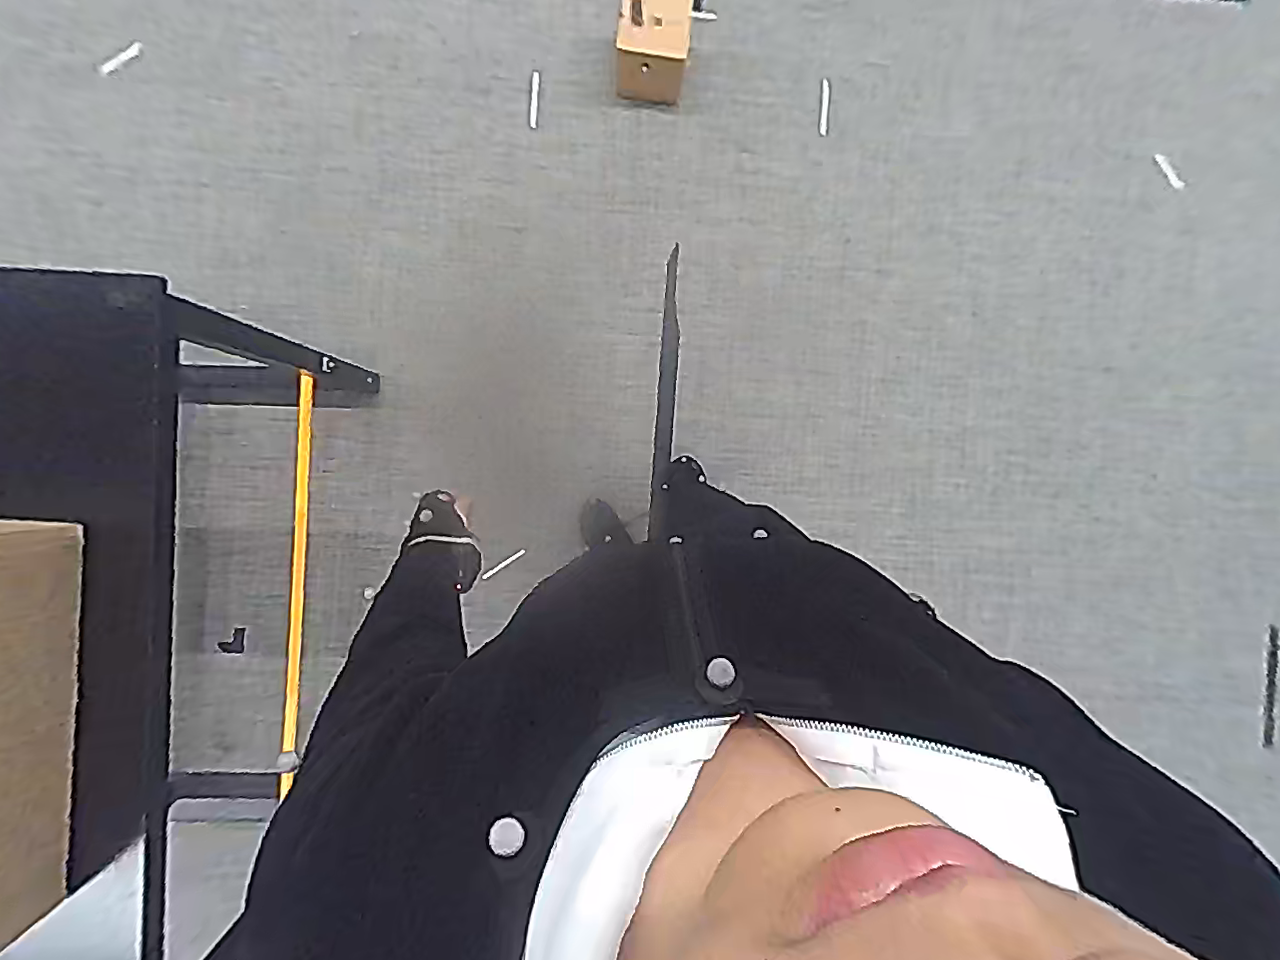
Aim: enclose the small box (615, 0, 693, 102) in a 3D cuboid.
[{"bbox_3d":[0.031,-1.119,1.395,0.179,0.176,0.168,7,91,-3],"label":"small box"}]
